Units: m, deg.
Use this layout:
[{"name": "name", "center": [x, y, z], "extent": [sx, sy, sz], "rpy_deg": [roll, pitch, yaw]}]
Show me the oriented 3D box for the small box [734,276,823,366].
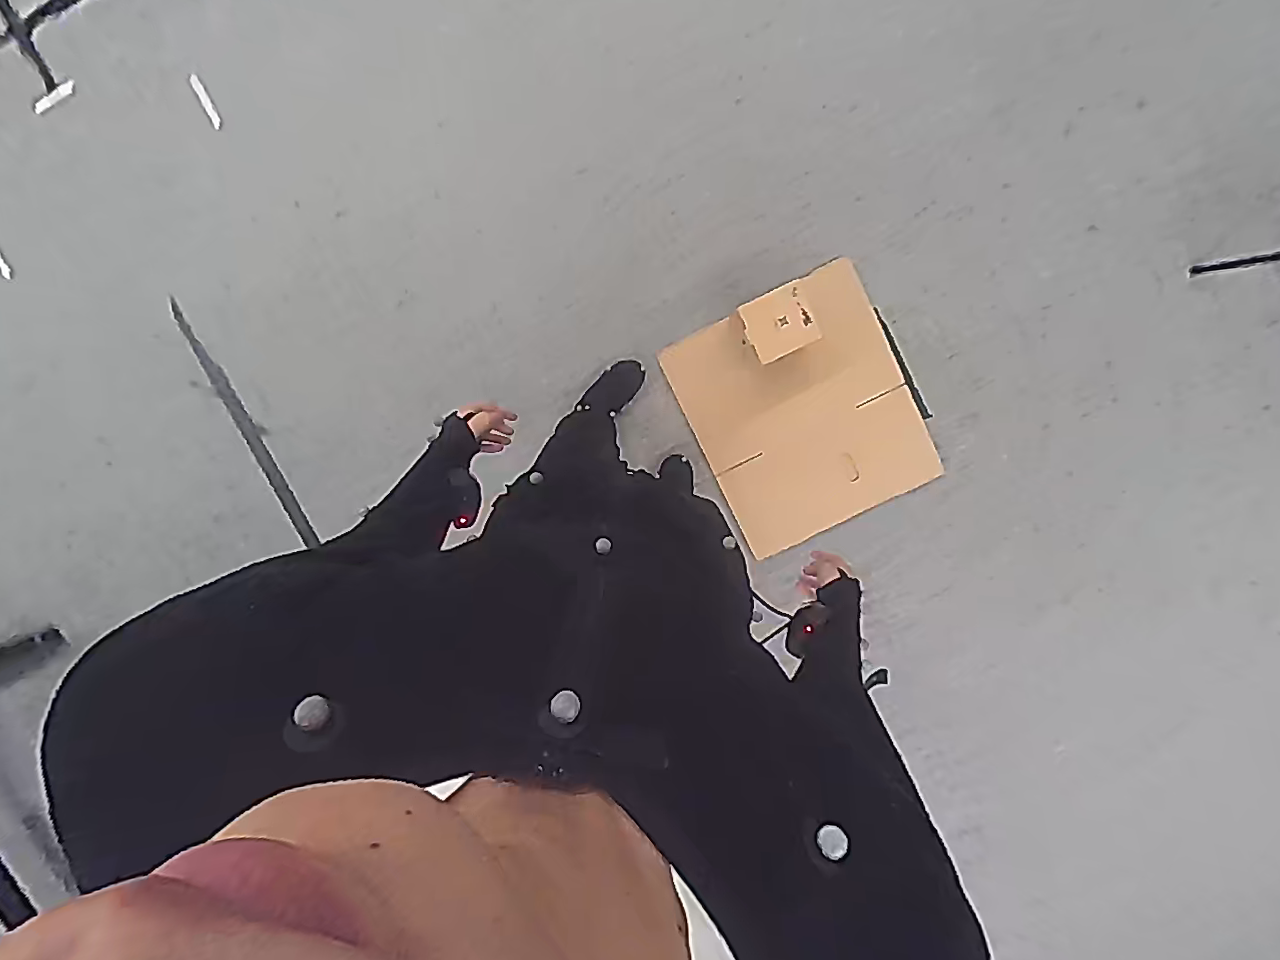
[{"name": "small box", "center": [0.363, -0.418, 1.456], "extent": [0.179, 0.176, 0.168], "rpy_deg": [-24, 96, 6]}]
